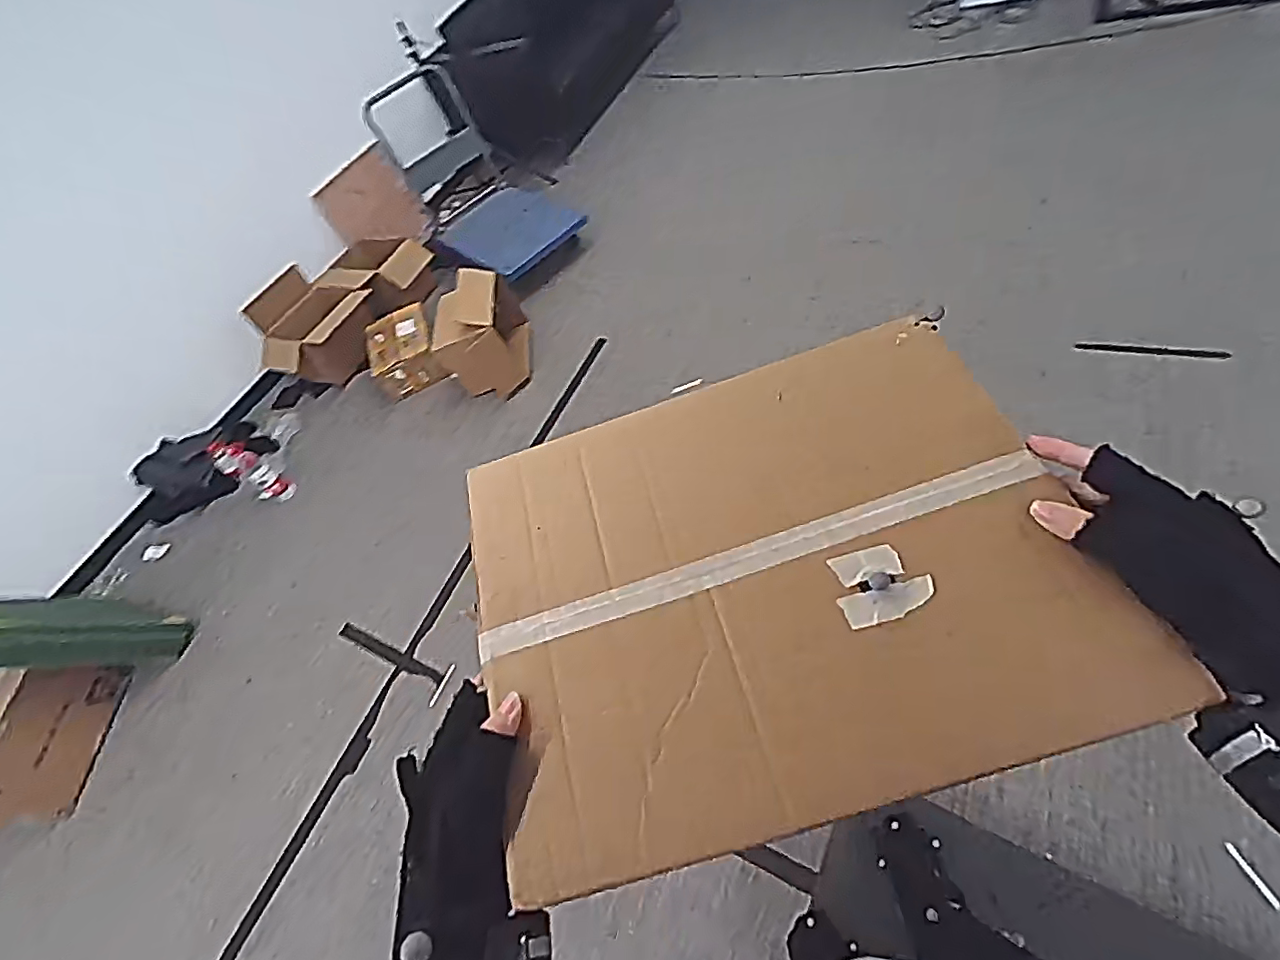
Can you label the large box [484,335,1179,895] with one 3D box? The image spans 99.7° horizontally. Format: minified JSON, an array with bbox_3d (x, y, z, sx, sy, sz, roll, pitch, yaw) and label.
[{"bbox_3d":[0.114,0.135,0.518,0.408,0.320,0.320,-19,59,3],"label":"large box"}]
